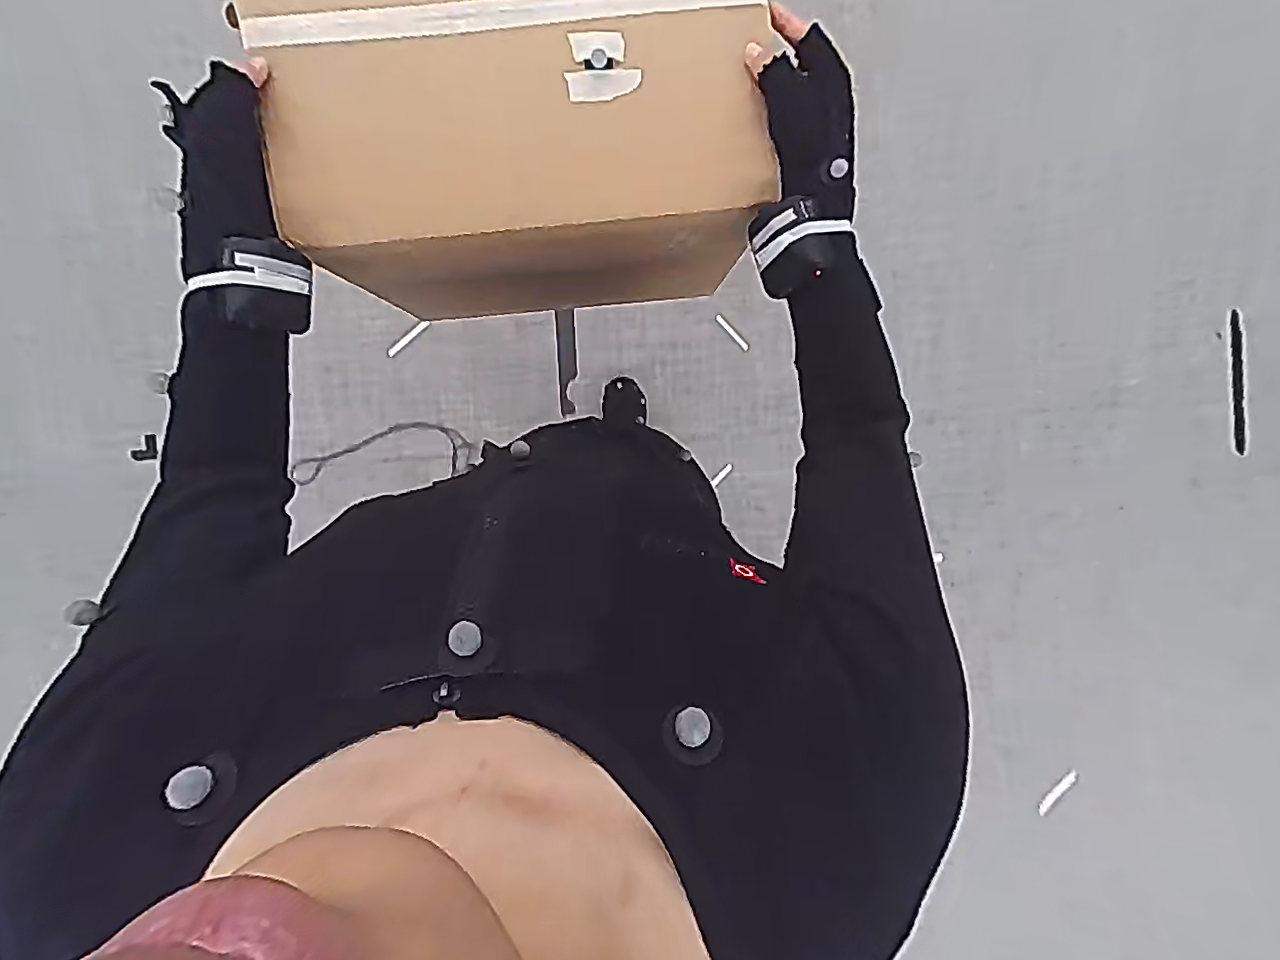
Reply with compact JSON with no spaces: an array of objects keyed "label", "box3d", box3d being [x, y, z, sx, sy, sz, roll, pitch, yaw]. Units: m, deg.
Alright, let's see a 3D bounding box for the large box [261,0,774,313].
[{"label":"large box","box3d":[-0.108,-0.387,0.584,0.408,0.320,0.320,-7,97,-2]}]
